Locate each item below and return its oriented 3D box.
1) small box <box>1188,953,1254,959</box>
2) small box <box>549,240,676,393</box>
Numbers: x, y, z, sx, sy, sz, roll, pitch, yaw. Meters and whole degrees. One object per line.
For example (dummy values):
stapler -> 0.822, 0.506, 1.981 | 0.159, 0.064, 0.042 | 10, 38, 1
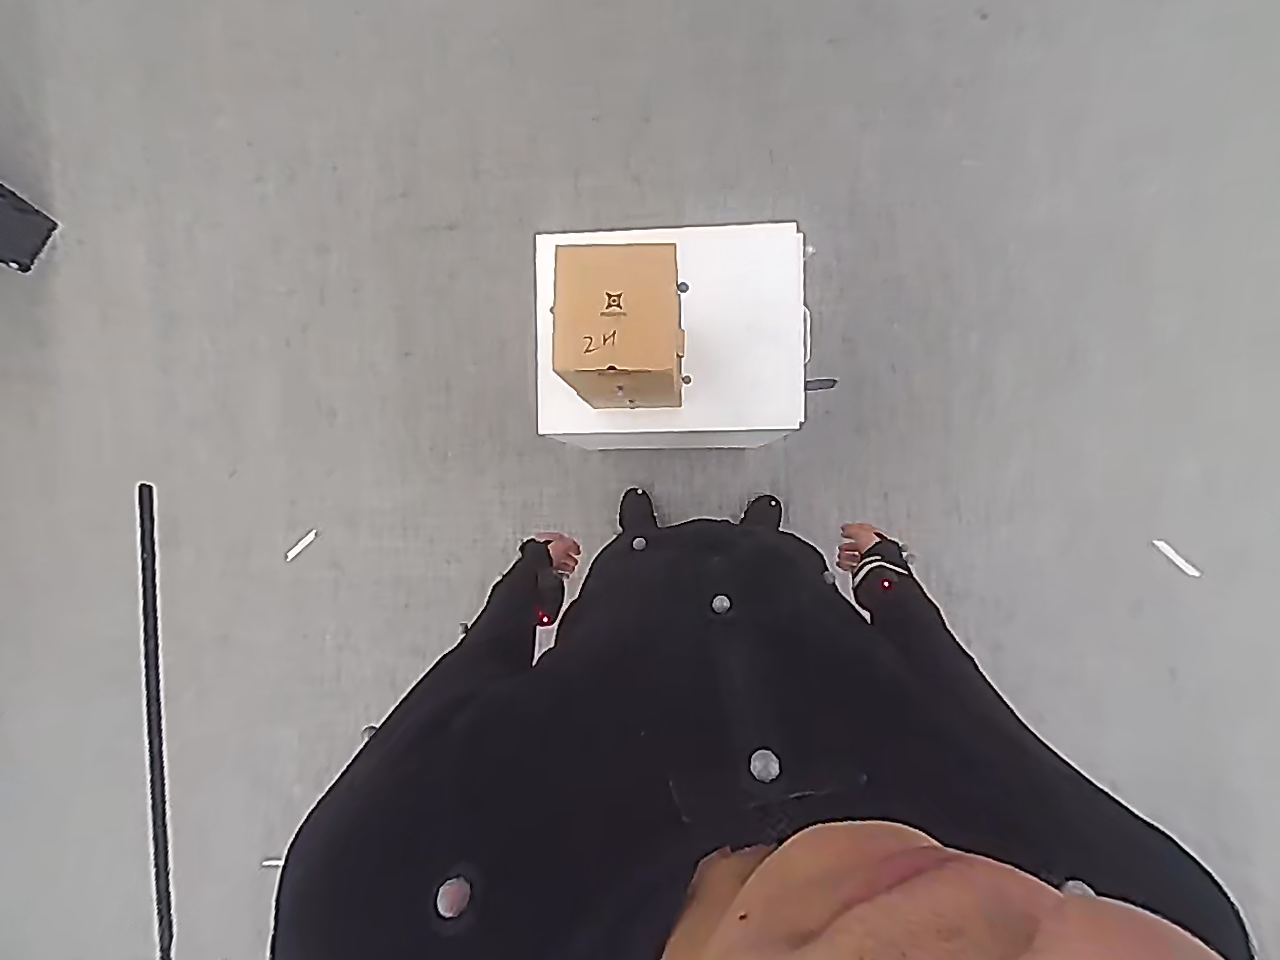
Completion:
small box -> 1.660, 1.439, 1.472 | 0.179, 0.176, 0.168 | -2, 90, 4
small box -> -0.033, -0.233, 0.803 | 0.168, 0.176, 0.179 | 2, 90, 5
